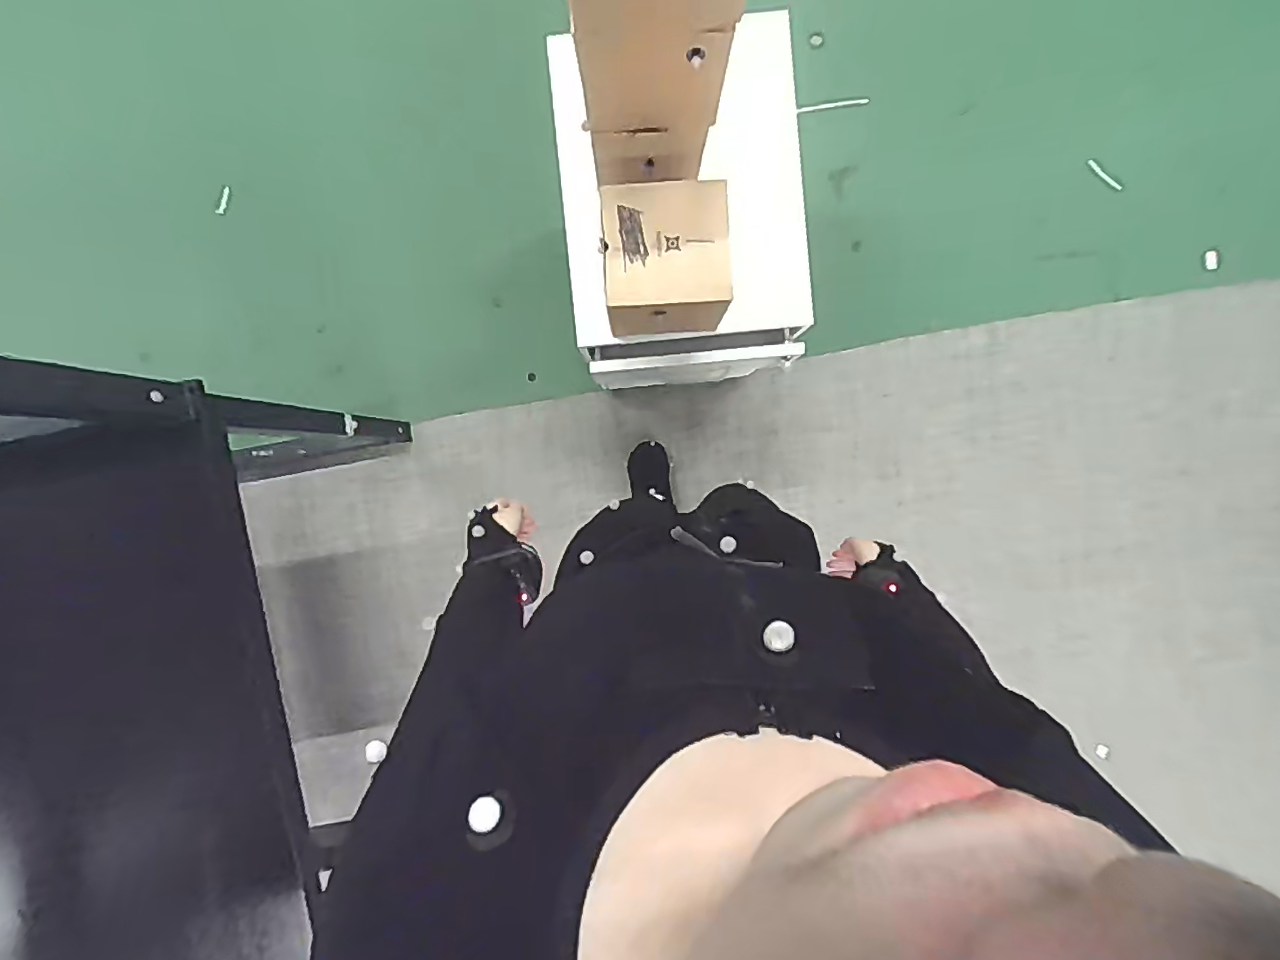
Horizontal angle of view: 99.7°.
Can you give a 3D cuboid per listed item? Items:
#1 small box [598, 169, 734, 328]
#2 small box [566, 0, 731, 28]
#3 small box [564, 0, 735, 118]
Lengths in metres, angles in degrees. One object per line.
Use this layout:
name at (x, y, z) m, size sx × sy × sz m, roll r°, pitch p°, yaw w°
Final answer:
small box at (0.035, -0.327, 0.795) m, size 0.179 × 0.176 × 0.168 m, roll -3°, pitch 91°, yaw -1°
small box at (0.004, -0.536, 0.460) m, size 0.179 × 0.176 × 0.168 m, roll -10°, pitch 94°, yaw 0°
small box at (0.008, -0.550, 0.624) m, size 0.179 × 0.176 × 0.168 m, roll -2°, pitch 93°, yaw -1°
